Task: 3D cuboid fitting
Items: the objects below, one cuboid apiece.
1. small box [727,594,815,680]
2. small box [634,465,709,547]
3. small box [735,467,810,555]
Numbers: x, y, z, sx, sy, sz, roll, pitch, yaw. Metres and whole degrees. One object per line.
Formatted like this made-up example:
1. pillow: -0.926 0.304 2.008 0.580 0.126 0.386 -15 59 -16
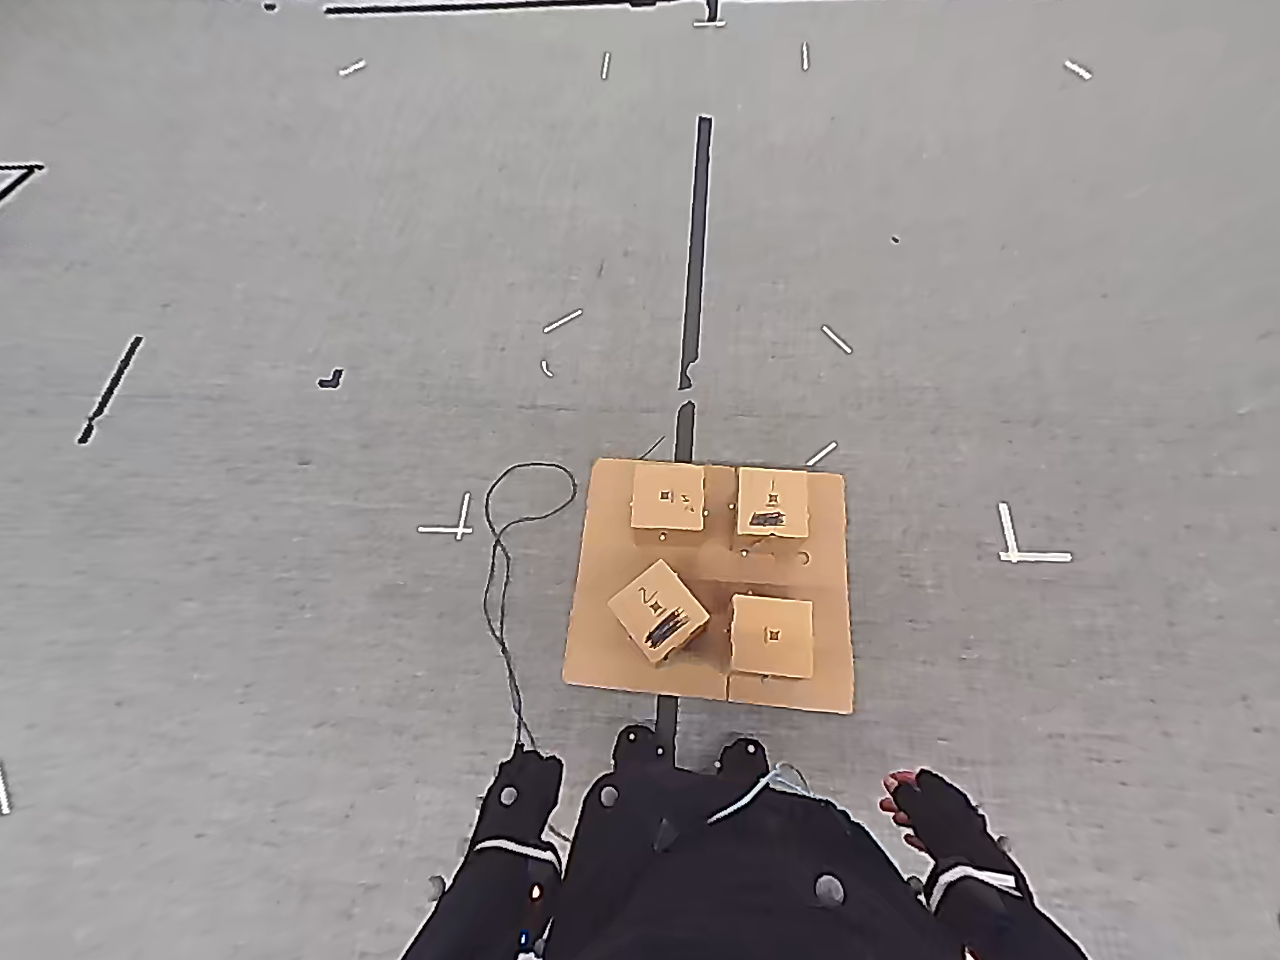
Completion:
1. small box: 0.300 0.369 1.259 0.179 0.176 0.168 4 68 7
2. small box: 0.083 0.072 1.390 0.179 0.176 0.168 3 69 4
3. small box: 0.332 0.085 1.372 0.168 0.176 0.179 5 67 6
